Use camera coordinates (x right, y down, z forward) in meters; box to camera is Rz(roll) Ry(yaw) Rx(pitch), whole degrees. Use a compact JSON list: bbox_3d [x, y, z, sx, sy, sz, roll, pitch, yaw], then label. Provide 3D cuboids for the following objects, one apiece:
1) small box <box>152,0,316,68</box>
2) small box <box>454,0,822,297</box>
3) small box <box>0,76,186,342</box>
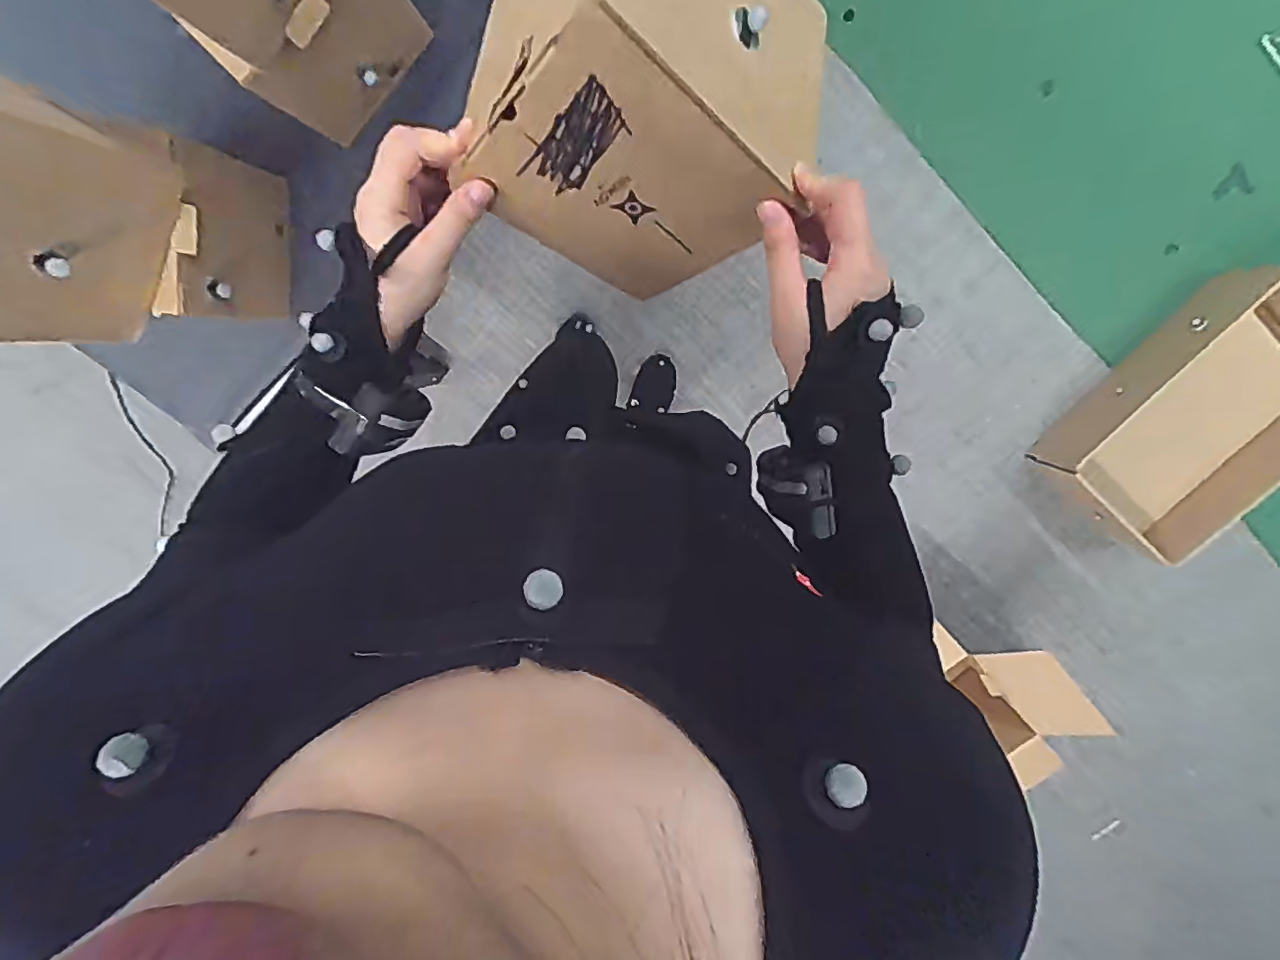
[{"bbox_3d":[-0.350,-0.446,0.378,0.179,0.176,0.168,33,104,-7],"label":"small box"},{"bbox_3d":[0.004,-0.262,0.363,0.179,0.168,0.176,18,73,-38],"label":"small box"},{"bbox_3d":[-0.527,-0.224,0.441,0.168,0.176,0.179,28,105,-5],"label":"small box"}]
